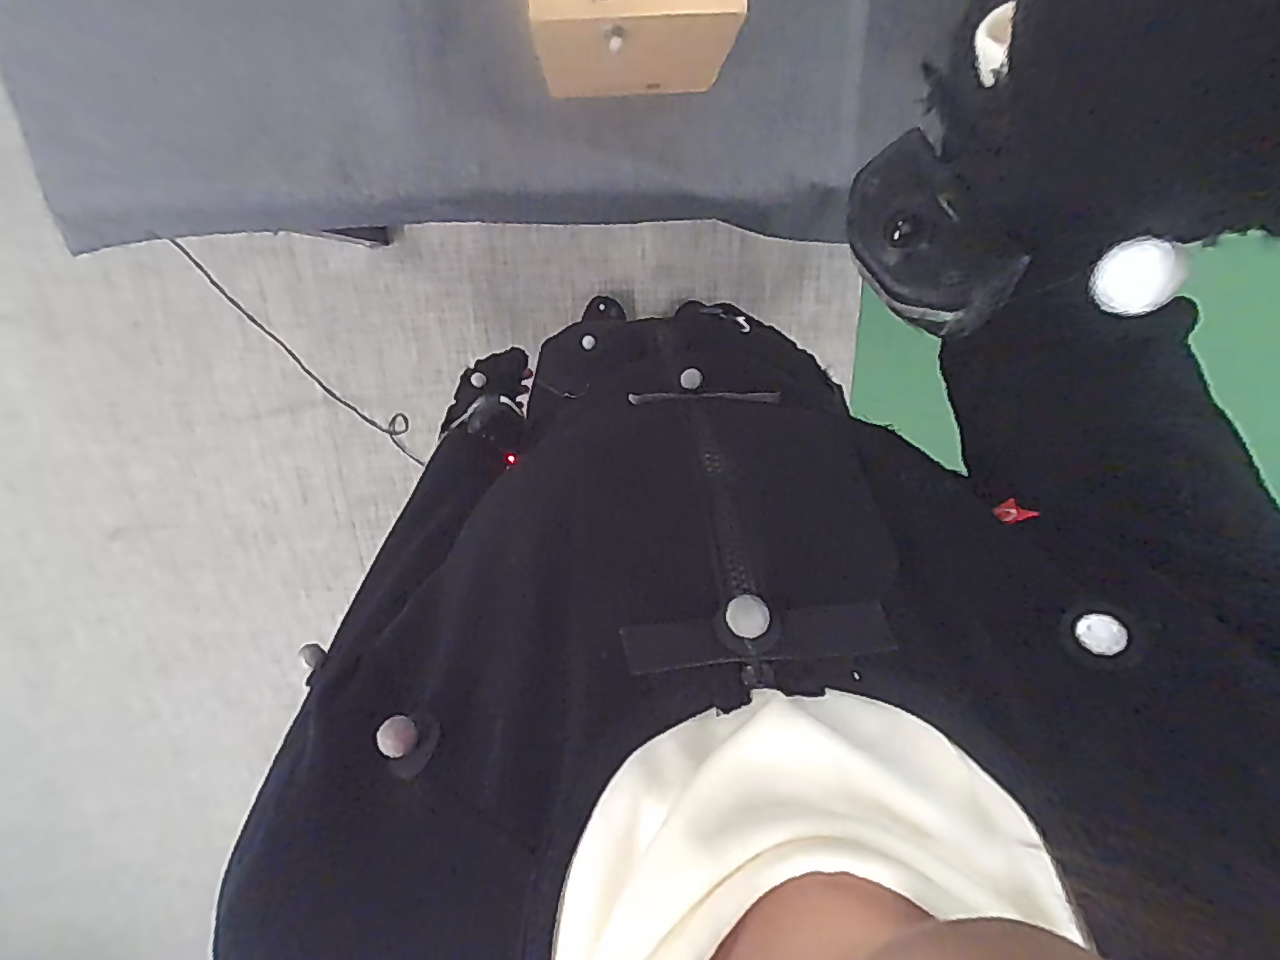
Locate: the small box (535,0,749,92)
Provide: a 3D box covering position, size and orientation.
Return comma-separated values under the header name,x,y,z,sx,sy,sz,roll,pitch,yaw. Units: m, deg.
name,x,y,z,sx,sy,sz,roll,pitch,yaw
small box,-0.006,-0.459,0.453,0.168,0.176,0.179,-3,108,-1
